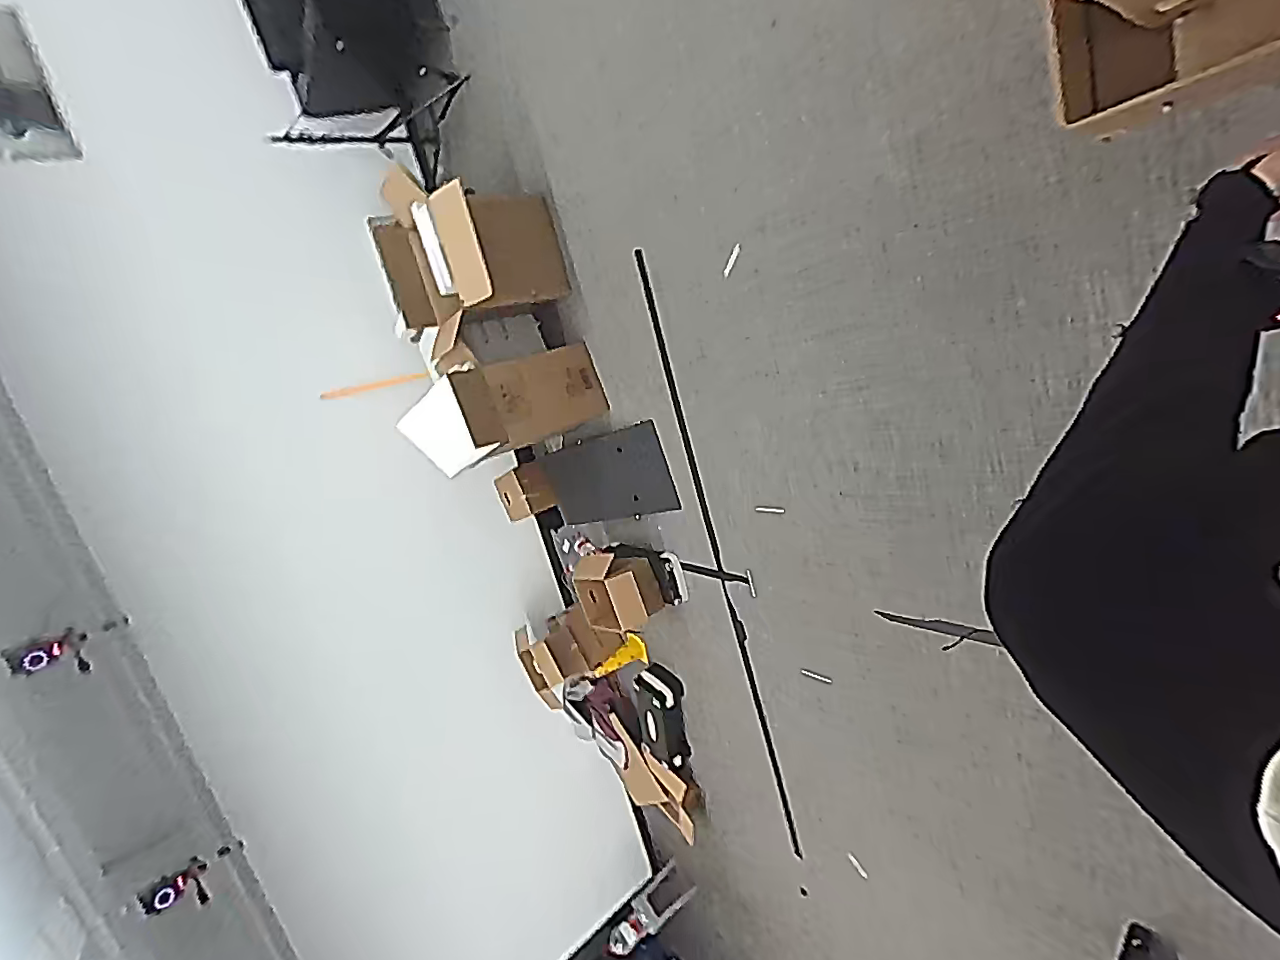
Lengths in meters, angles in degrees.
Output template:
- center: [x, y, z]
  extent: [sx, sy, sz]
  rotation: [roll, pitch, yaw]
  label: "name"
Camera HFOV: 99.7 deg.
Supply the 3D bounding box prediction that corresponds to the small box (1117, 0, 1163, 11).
- center: [0.590, -0.650, 0.569]
  extent: [0.168, 0.176, 0.179]
  rotation: [-1, 109, 56]
  label: "small box"
